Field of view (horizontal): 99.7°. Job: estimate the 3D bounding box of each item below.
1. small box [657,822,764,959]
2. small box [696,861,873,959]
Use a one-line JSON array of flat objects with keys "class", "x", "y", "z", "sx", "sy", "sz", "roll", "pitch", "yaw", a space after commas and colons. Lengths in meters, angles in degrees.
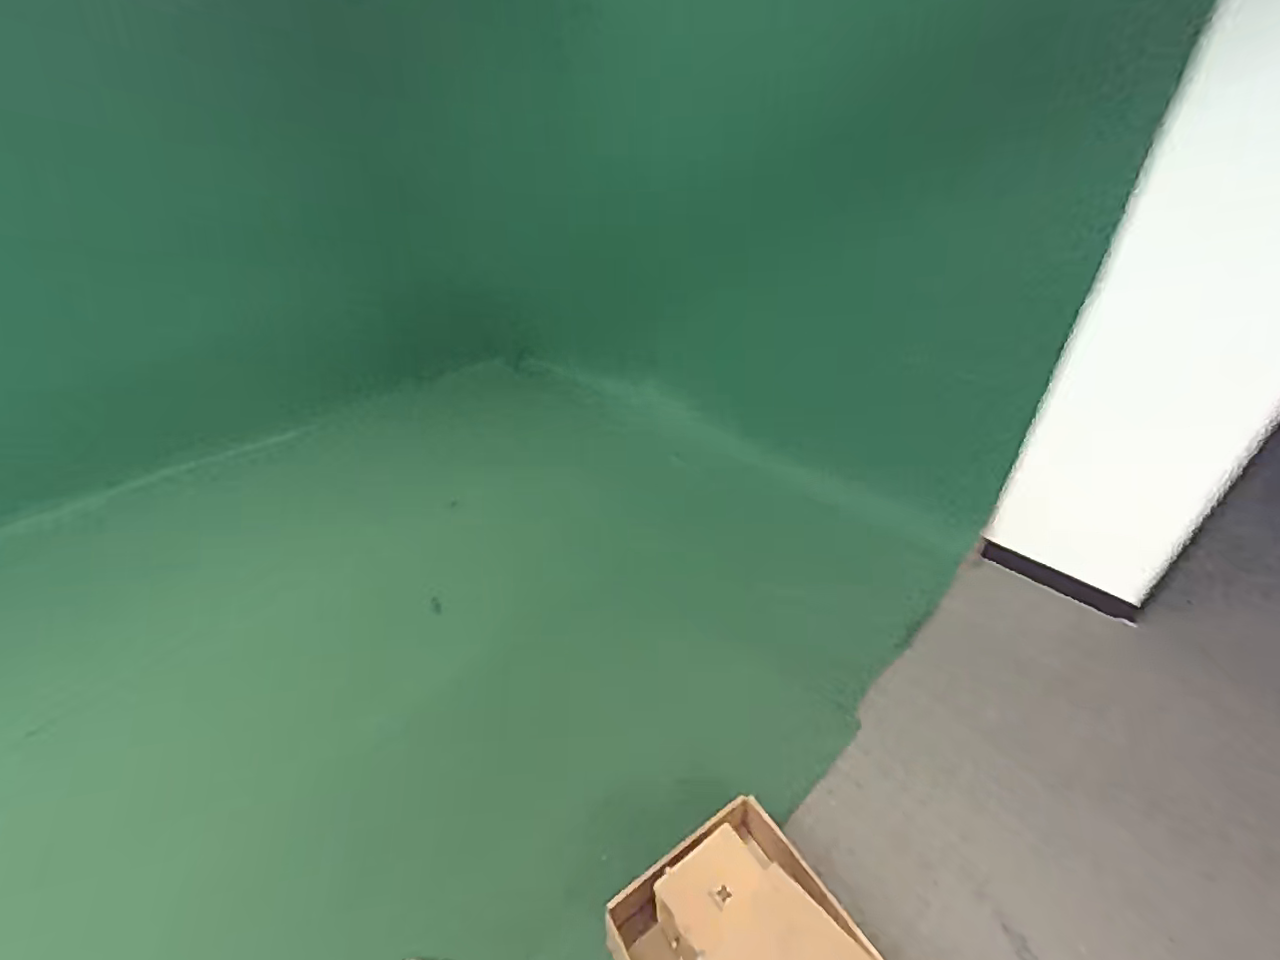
[{"class": "small box", "x": 0.146, "y": 0.783, "z": 0.989, "sx": 0.179, "sy": 0.176, "sz": 0.168, "roll": -25, "pitch": 43, "yaw": -24}, {"class": "small box", "x": 0.105, "y": 0.427, "z": 0.375, "sx": 0.179, "sy": 0.176, "sz": 0.168, "roll": -35, "pitch": 45, "yaw": -28}]
